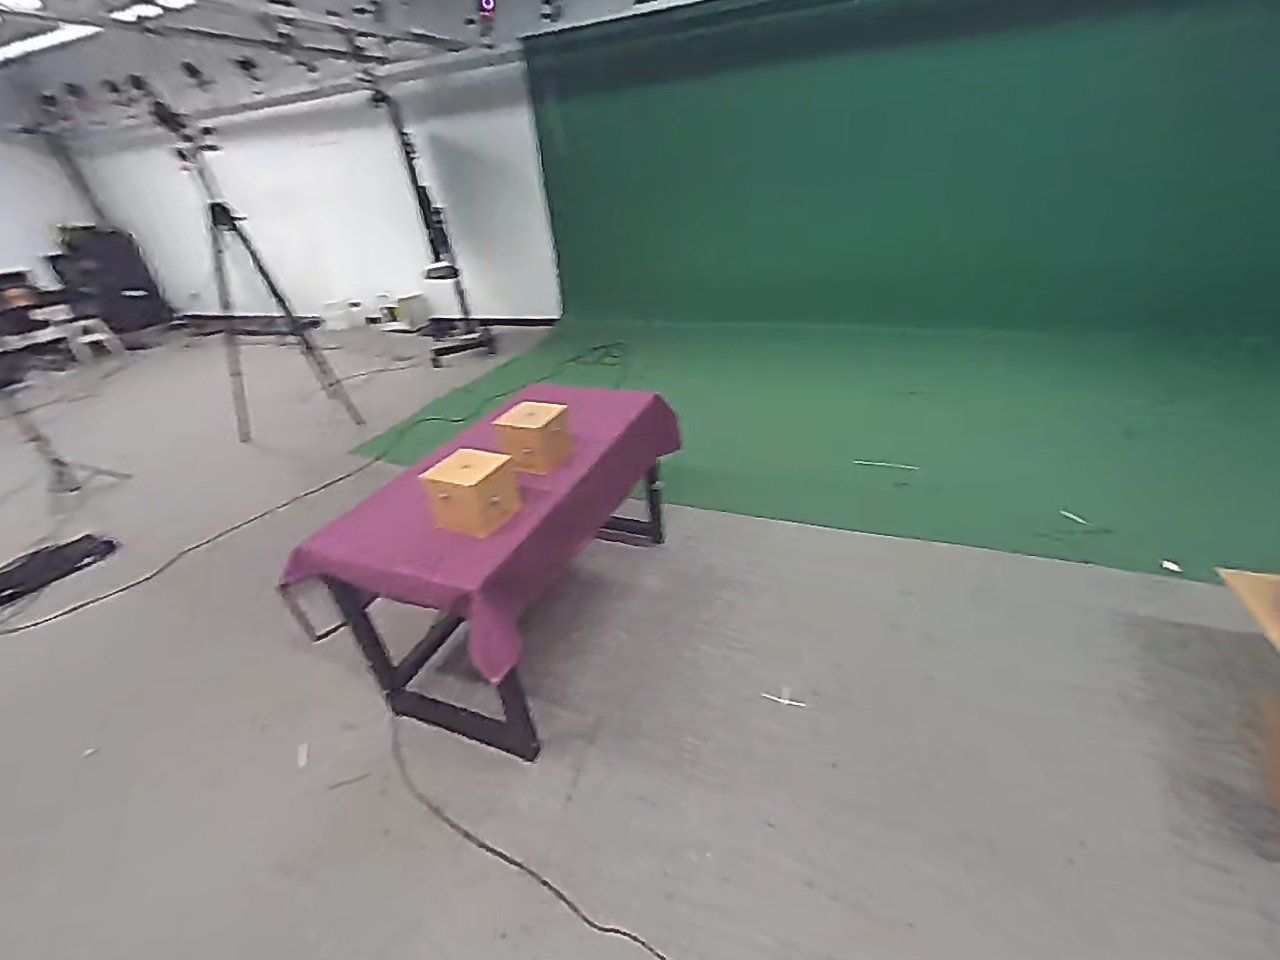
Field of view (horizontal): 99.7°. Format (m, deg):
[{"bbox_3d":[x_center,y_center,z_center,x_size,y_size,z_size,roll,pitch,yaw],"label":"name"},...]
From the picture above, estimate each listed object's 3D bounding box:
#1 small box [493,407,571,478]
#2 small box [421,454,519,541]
[{"bbox_3d":[-0.338,-0.121,1.741,0.168,0.176,0.179,8,33,23],"label":"small box"},{"bbox_3d":[-0.455,0.048,1.477,0.179,0.176,0.168,8,33,25],"label":"small box"}]
